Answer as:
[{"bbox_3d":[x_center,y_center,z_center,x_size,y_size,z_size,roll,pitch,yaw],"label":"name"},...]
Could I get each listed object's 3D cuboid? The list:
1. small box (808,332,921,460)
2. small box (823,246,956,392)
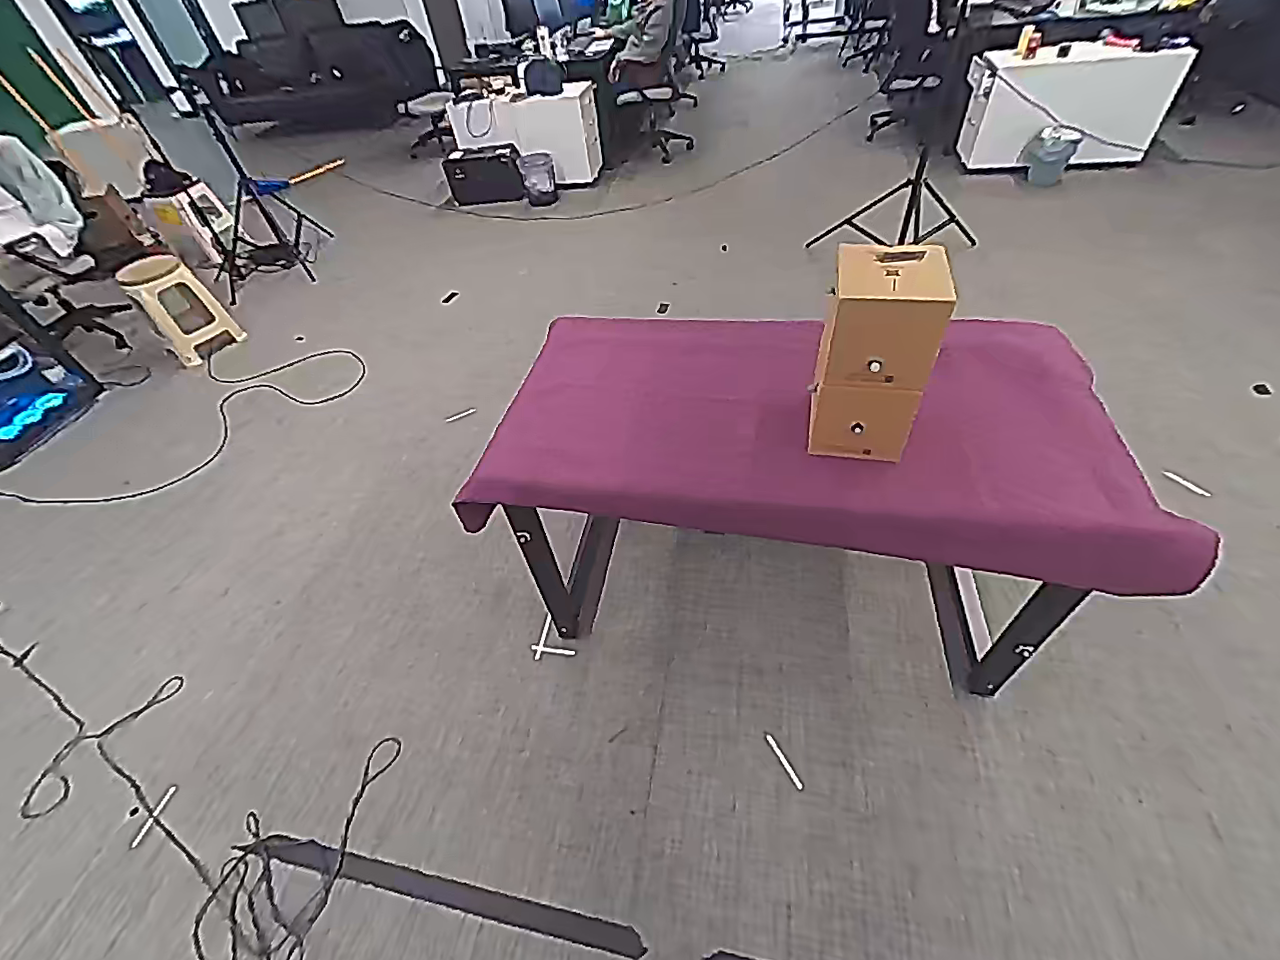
[{"bbox_3d":[0.418,-0.159,1.028,0.168,0.176,0.179,7,48,13],"label":"small box"},{"bbox_3d":[0.407,-0.273,0.910,0.168,0.176,0.179,6,49,13],"label":"small box"}]
